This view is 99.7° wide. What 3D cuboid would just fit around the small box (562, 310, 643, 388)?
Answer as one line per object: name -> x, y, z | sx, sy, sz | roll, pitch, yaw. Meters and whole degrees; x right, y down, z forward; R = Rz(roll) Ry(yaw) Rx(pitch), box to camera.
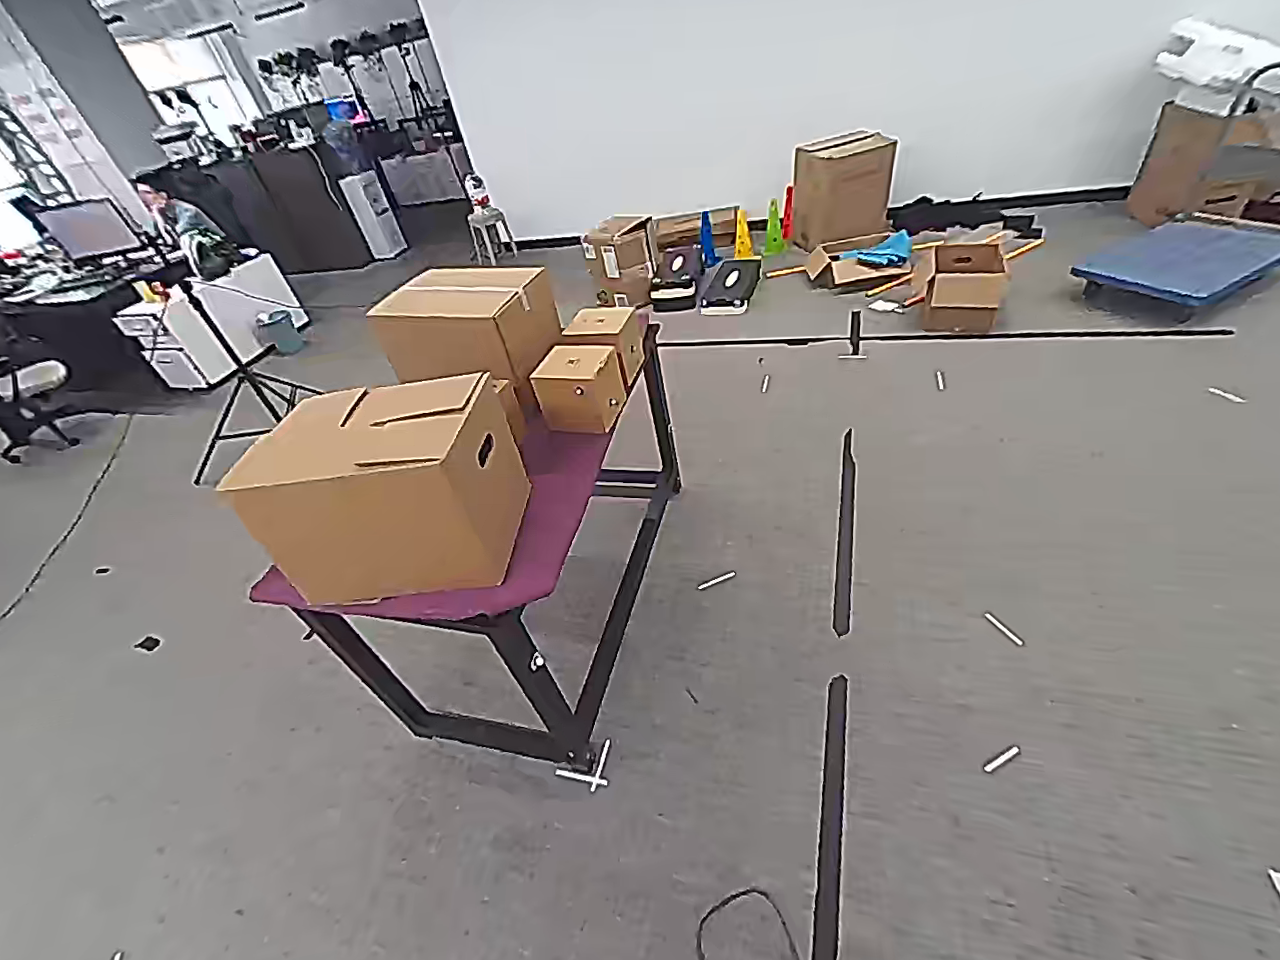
small box -> -0.100, -0.381, 1.580 | 0.179, 0.176, 0.168 | 4, 42, 19
